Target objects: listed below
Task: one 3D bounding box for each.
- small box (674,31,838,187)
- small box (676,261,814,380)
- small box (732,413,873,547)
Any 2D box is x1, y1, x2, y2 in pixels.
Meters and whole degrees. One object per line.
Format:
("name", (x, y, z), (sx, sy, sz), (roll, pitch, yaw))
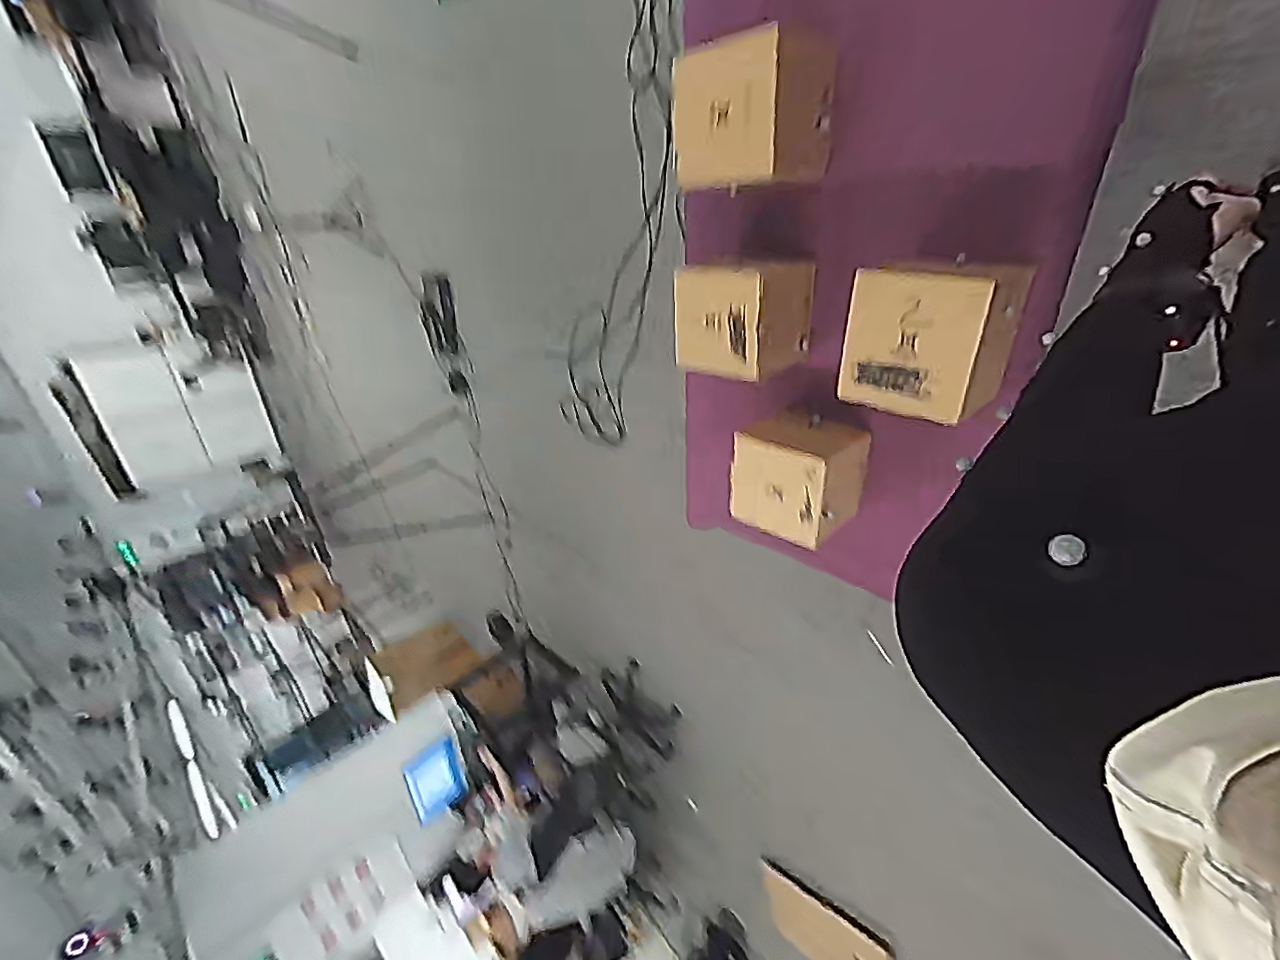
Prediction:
("small box", (0.172, -0.540, 0.814), (0.179, 0.176, 0.168), (19, 125, 40))
("small box", (0.183, -0.286, 0.941), (0.179, 0.176, 0.168), (21, 125, 40))
("small box", (0.288, -0.011, 0.974), (0.179, 0.176, 0.168), (23, 127, 39))
